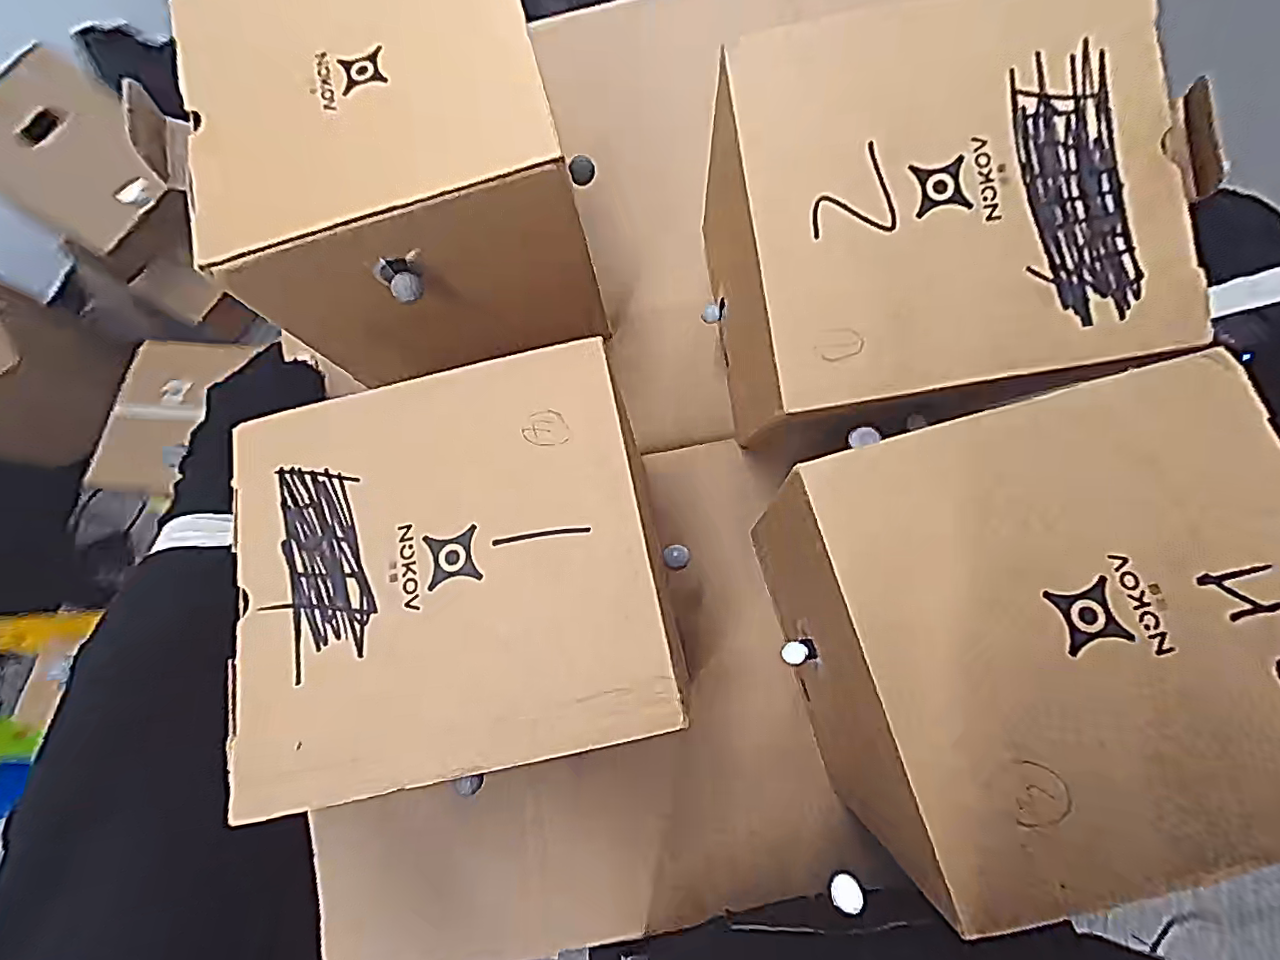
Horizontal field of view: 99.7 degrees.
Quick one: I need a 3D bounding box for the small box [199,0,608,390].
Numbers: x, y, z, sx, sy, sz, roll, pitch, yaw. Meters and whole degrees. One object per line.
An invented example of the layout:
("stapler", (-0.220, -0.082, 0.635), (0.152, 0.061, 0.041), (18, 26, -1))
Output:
("small box", (-0.124, -0.179, 0.344), (0.179, 0.176, 0.168), (-16, 76, 3))
